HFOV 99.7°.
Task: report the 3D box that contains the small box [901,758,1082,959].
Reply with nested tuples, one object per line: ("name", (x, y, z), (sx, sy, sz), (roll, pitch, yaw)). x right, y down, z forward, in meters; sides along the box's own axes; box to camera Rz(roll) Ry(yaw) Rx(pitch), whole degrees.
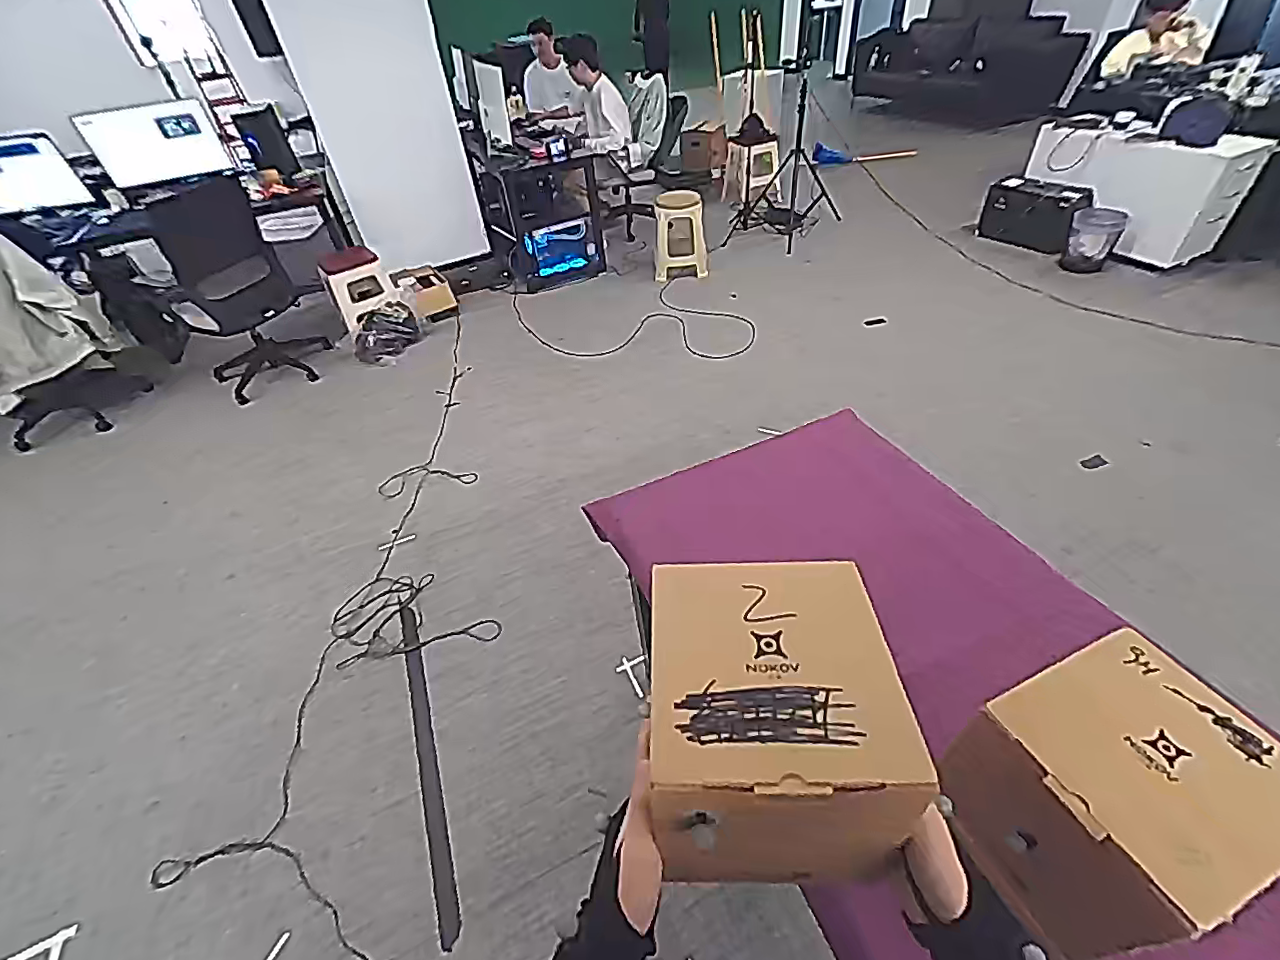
("small box", (0.411, 0.384, 0.580), (0.179, 0.176, 0.168), (-20, 45, -15))

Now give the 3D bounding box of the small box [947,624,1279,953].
("small box", (0.402, 0.265, 0.469), (0.179, 0.176, 0.168), (-20, 45, -14))
